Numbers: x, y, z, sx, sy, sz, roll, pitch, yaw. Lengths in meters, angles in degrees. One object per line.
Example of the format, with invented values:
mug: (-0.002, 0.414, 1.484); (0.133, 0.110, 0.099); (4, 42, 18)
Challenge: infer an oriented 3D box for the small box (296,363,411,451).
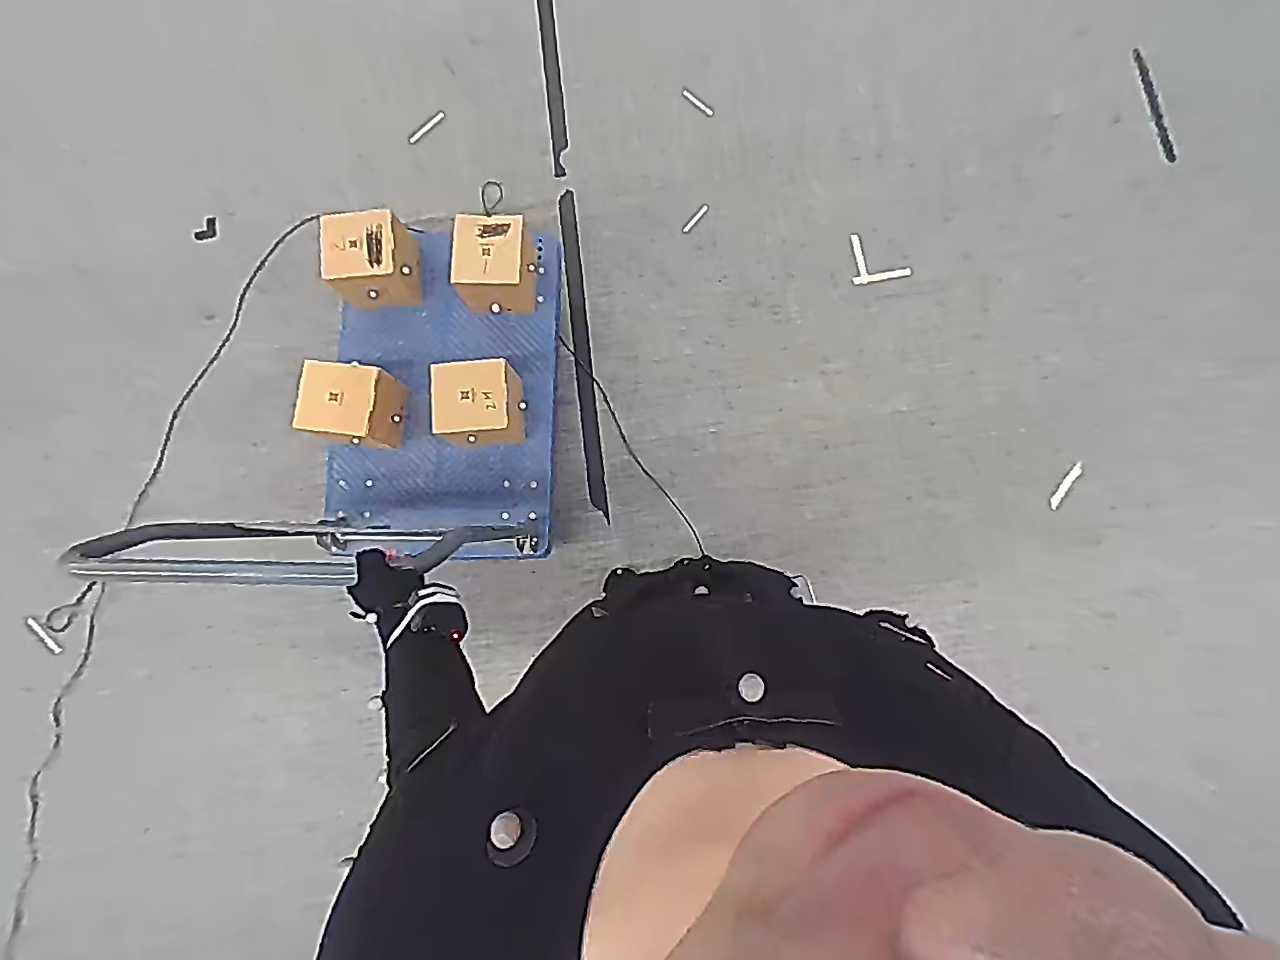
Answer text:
small box: (-0.690, -0.172, 1.319); (0.179, 0.176, 0.168); (6, 82, 0)

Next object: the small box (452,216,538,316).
small box: (-0.356, -0.531, 1.357); (0.168, 0.176, 0.179); (1, 84, 2)

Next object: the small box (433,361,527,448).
small box: (-0.383, -0.176, 1.311); (0.179, 0.176, 0.168); (-5, 83, 1)
